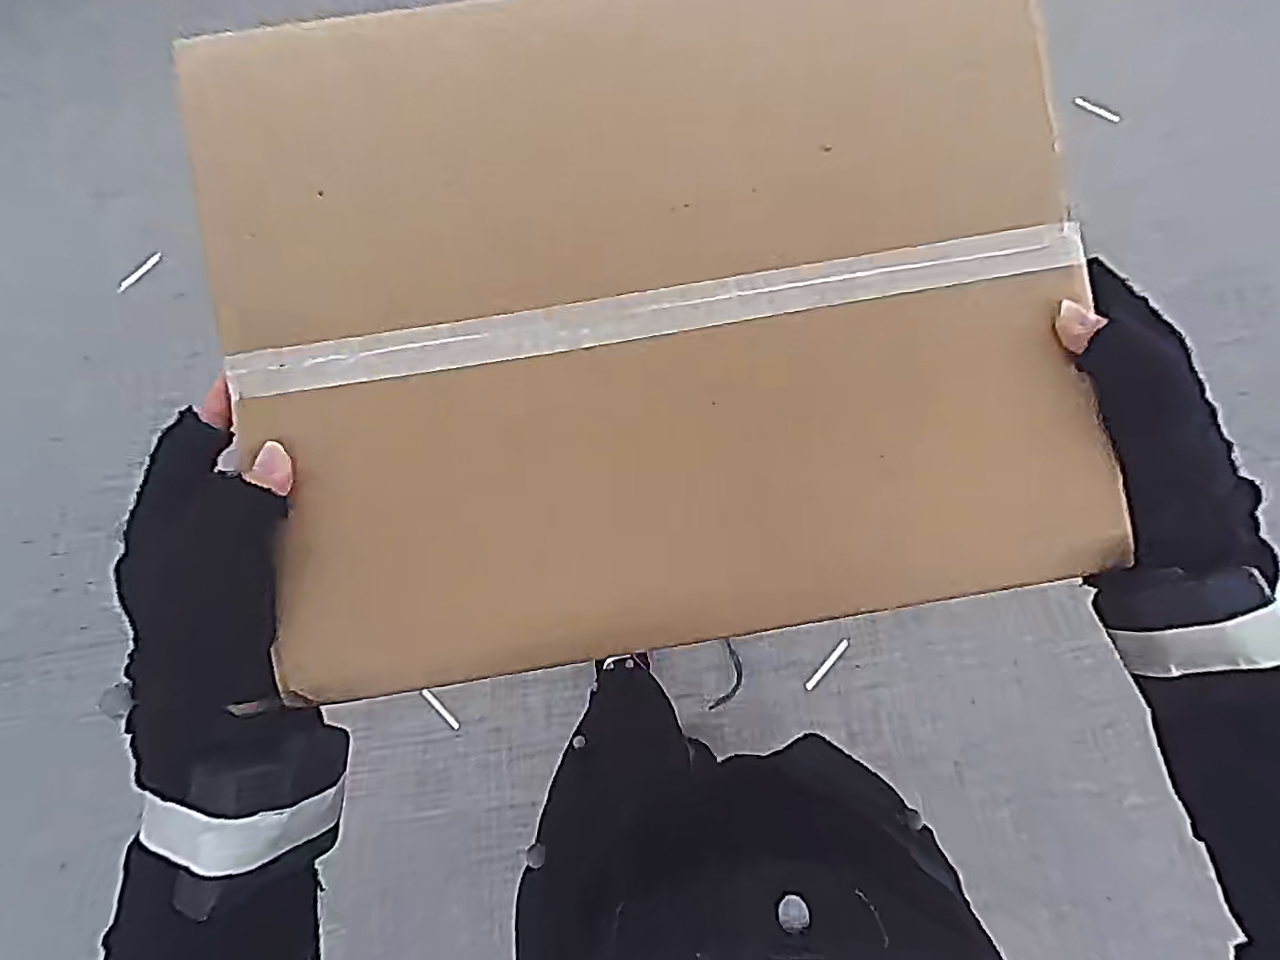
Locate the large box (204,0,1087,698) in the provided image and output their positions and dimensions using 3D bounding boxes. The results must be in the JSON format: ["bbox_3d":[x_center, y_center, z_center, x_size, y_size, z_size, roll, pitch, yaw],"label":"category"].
[{"bbox_3d":[0.006,-0.078,0.415,0.408,0.320,0.320,-9,90,-1],"label":"large box"}]
